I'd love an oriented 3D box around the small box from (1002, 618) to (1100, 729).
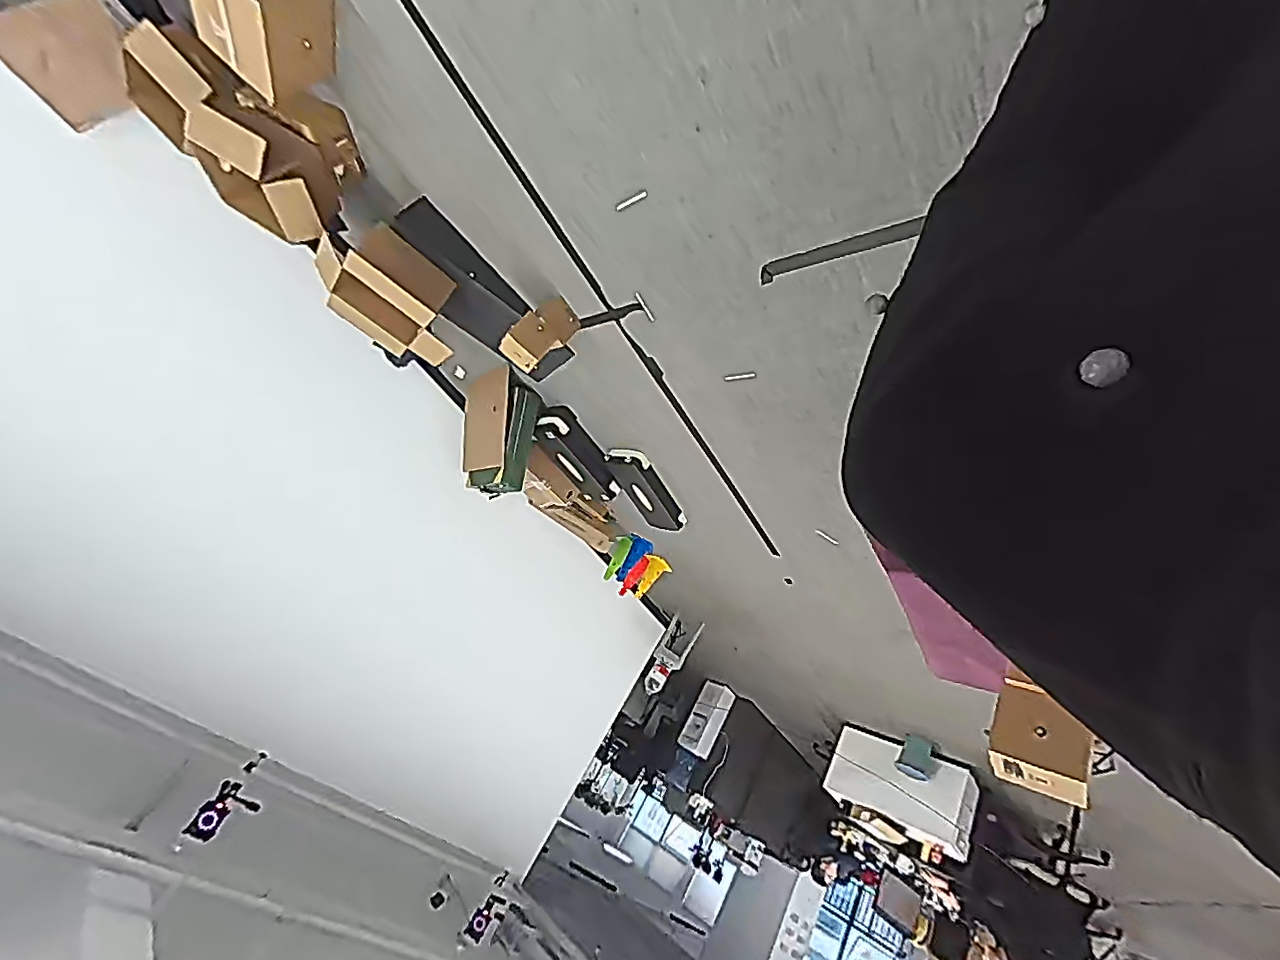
[{"bbox_3d":[0.987,0.456,1.296,0.168,0.176,0.179,4,141,44],"label":"small box"}]
